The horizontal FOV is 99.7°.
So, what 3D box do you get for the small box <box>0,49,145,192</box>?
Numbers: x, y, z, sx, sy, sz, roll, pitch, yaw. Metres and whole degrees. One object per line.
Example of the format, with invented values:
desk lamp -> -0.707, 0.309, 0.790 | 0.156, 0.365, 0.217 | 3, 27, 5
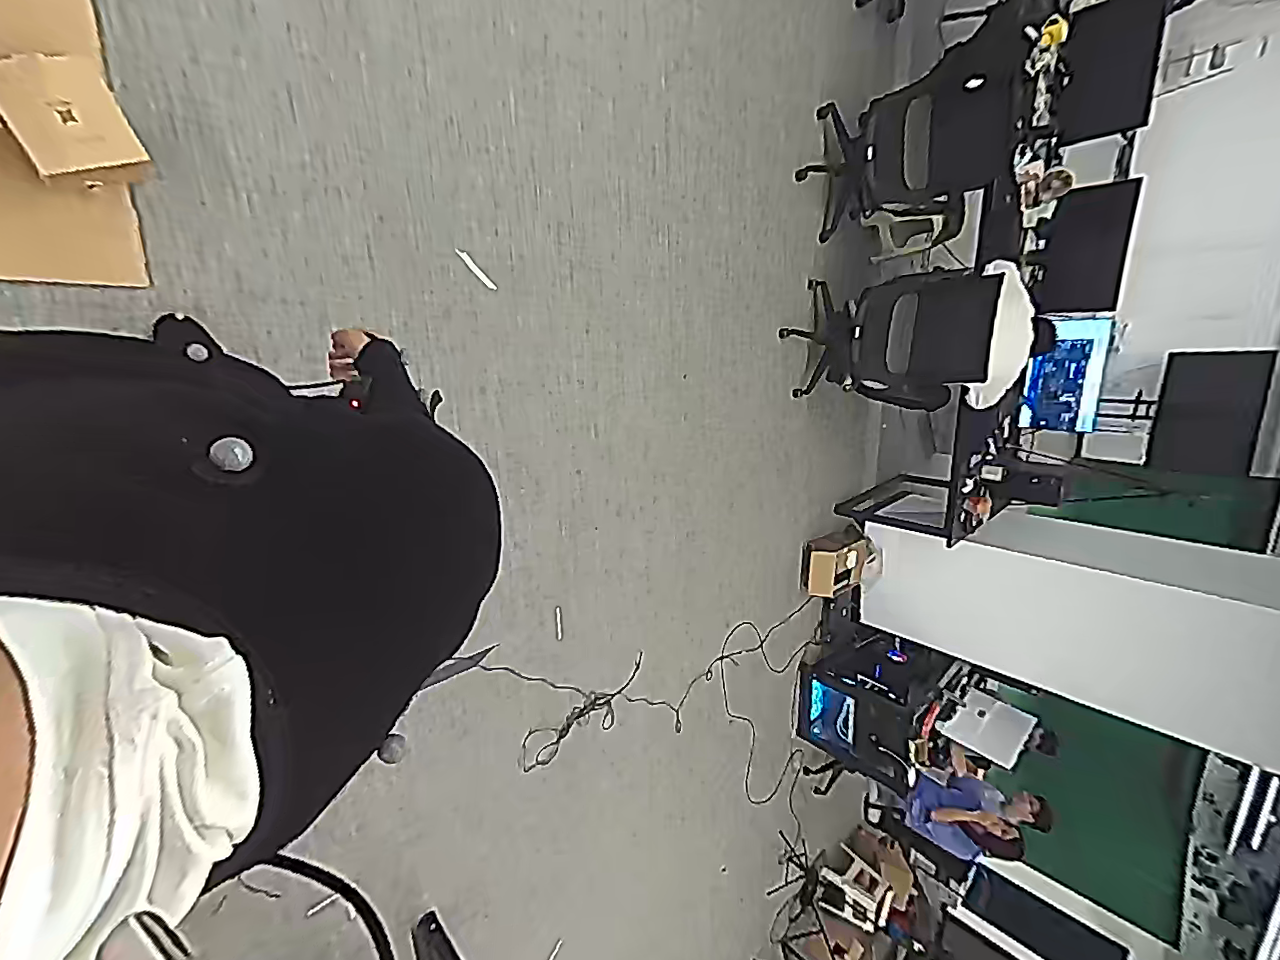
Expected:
small box -> -1.084, -0.668, 1.015 | 0.168, 0.176, 0.179 | -35, 121, -32
